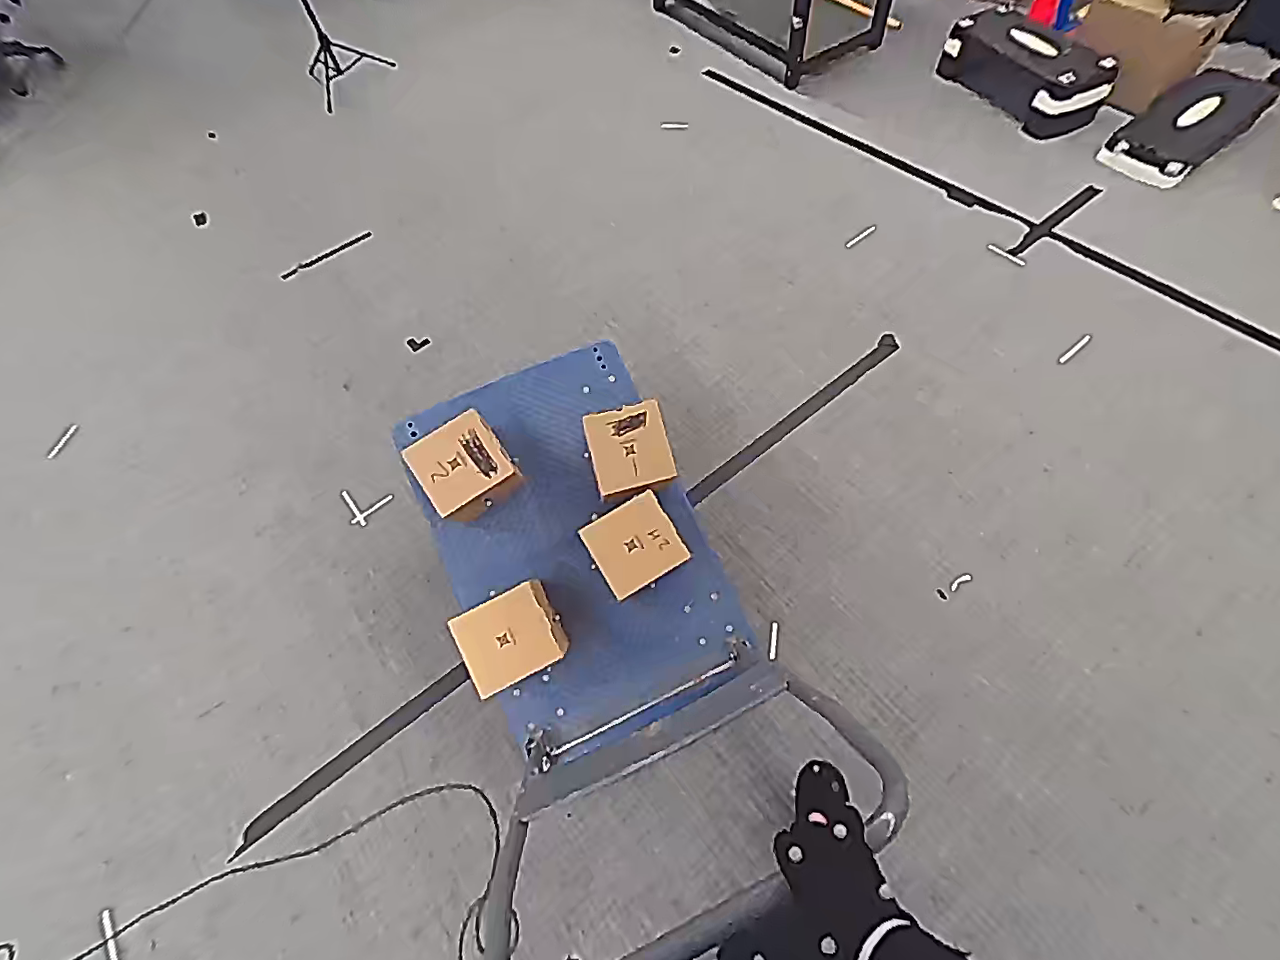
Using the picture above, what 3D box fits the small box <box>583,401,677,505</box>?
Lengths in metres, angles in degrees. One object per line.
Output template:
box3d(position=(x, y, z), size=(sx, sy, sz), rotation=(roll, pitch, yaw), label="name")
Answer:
box3d(position=(-0.028, -0.054, 1.208), size=(0.168, 0.176, 0.179), rotation=(-15, 82, -5), label="small box")

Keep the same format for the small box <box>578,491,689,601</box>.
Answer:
box3d(position=(-0.015, 0.147, 1.174), size=(0.179, 0.176, 0.168), rotation=(-31, 83, -7), label="small box")

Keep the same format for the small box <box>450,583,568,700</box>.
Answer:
box3d(position=(-0.264, 0.329, 1.130), size=(0.179, 0.176, 0.168), rotation=(-27, 82, -9), label="small box")
